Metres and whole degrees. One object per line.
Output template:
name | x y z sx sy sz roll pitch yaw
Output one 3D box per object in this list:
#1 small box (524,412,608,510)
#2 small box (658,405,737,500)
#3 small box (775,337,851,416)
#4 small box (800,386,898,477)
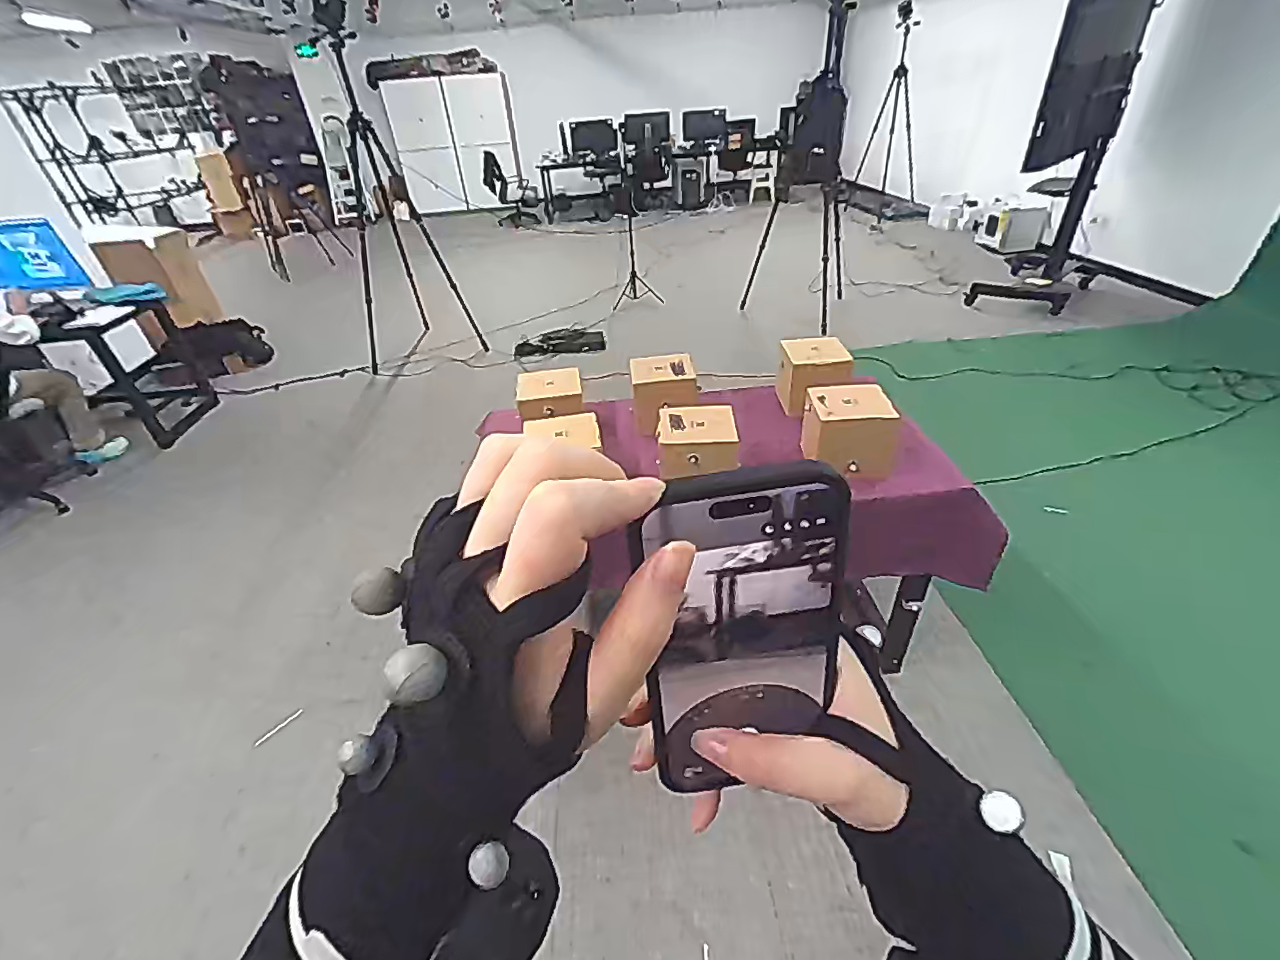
small box | -0.177 -0.043 1.299 0.179 0.176 0.168 -8 36 -6
small box | 0.136 -0.064 1.292 0.179 0.176 0.168 -1 36 3
small box | 0.497 -0.303 1.578 0.168 0.176 0.179 -4 37 2
small box | 0.501 -0.118 1.325 0.179 0.176 0.168 -1 36 5
